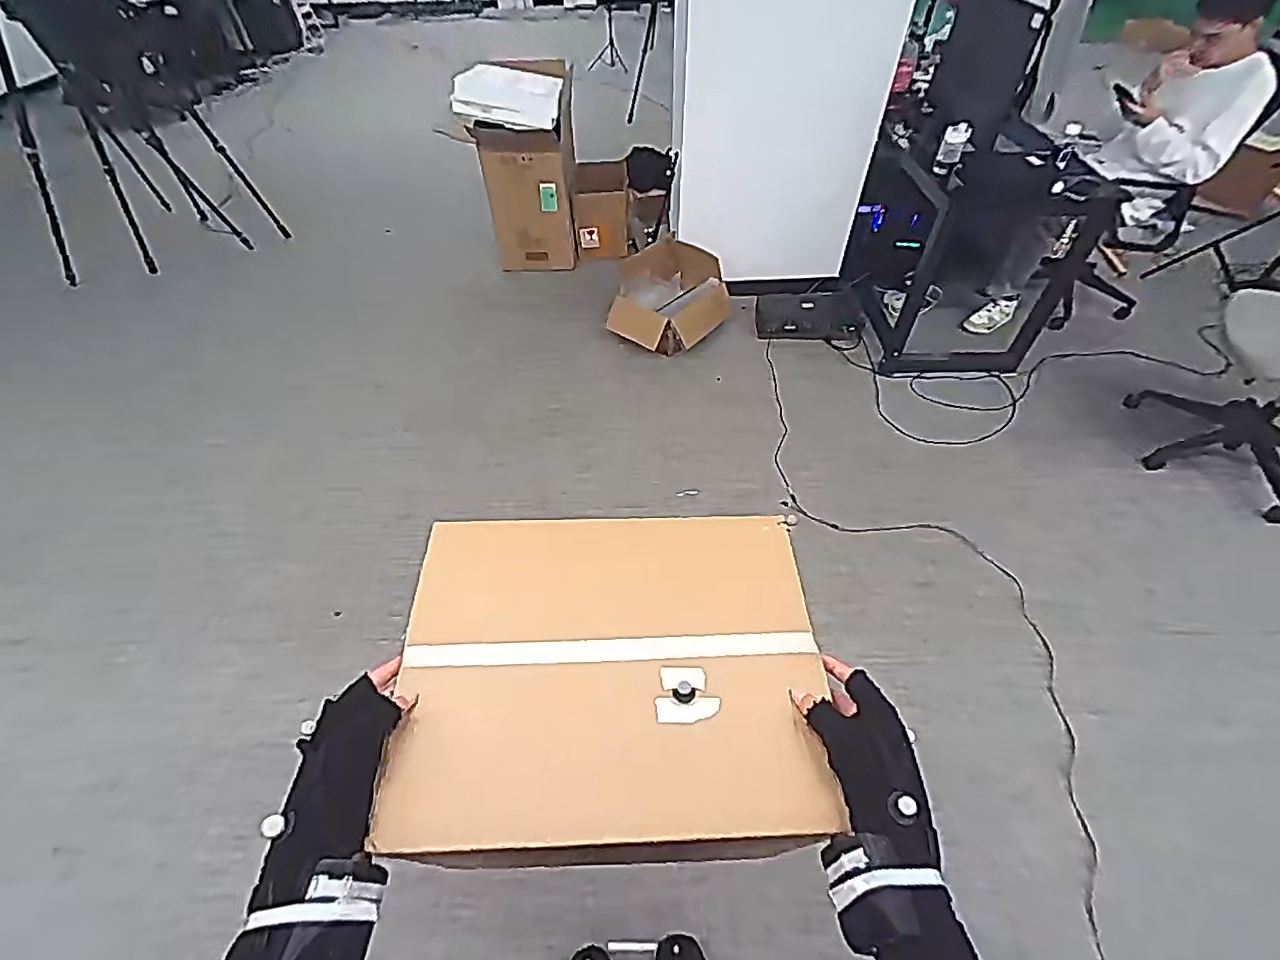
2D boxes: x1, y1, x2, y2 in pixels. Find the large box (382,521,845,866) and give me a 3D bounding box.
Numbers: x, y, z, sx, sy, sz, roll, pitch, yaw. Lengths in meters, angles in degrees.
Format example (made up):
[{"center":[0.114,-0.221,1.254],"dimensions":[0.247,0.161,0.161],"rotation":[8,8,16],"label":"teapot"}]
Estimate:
[{"center":[-0.030,0.265,0.664],"dimensions":[0.408,0.320,0.320],"rotation":[-1,52,-2],"label":"large box"}]
